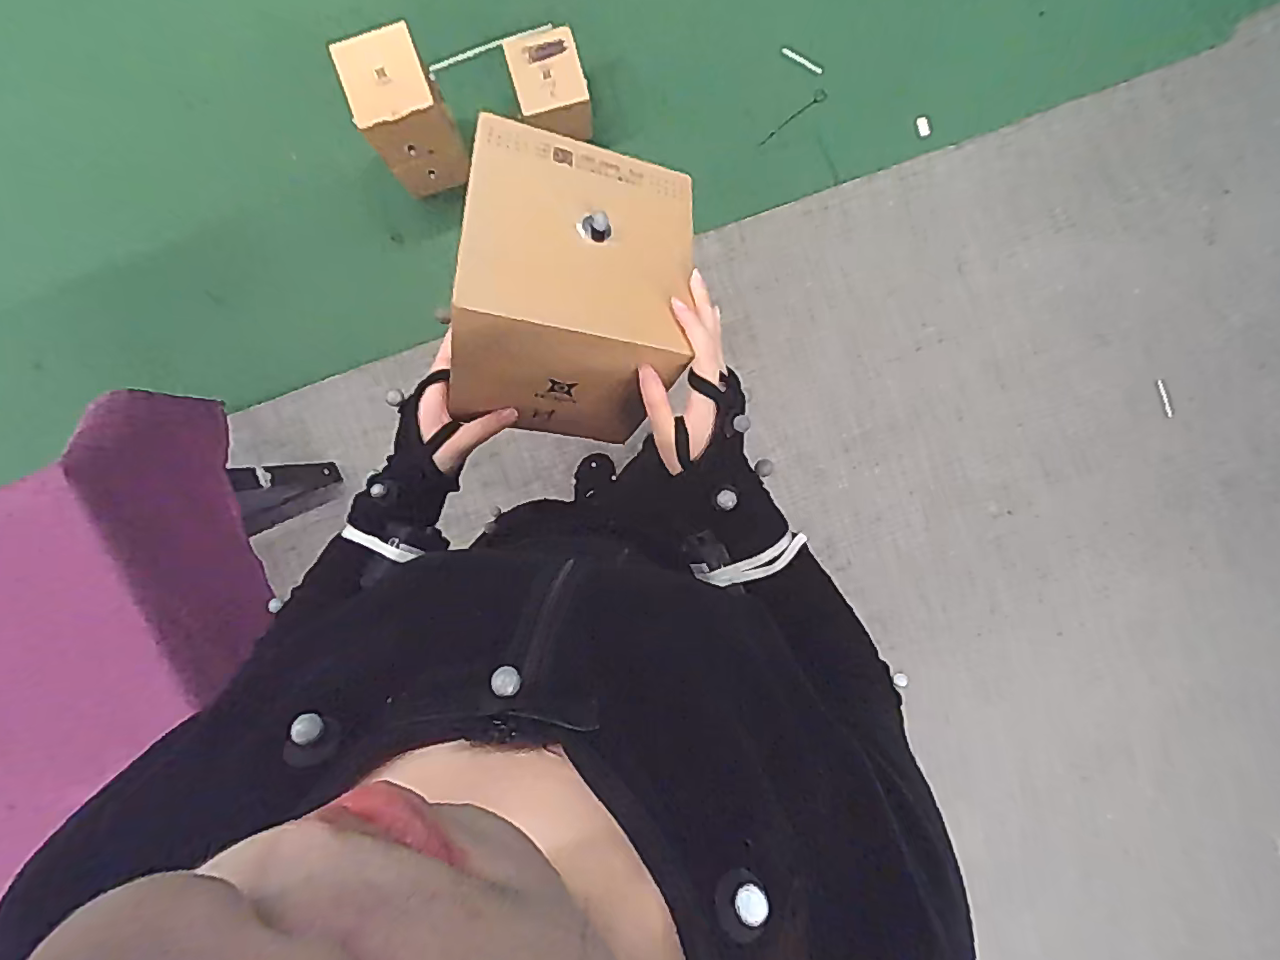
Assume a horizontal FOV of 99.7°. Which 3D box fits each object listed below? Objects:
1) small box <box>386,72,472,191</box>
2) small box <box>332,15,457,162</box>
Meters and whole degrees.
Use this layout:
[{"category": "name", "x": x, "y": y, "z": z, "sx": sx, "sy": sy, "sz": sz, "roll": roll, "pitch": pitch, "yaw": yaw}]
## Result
[{"category": "small box", "x": -0.533, "y": -0.855, "z": 1.341, "sx": 0.179, "sy": 0.176, "sz": 0.168, "roll": -19, "pitch": 94, "yaw": 0}, {"category": "small box", "x": -0.525, "y": -0.842, "z": 1.179, "sx": 0.168, "sy": 0.176, "sz": 0.179, "roll": -19, "pitch": 95, "yaw": 0}]
